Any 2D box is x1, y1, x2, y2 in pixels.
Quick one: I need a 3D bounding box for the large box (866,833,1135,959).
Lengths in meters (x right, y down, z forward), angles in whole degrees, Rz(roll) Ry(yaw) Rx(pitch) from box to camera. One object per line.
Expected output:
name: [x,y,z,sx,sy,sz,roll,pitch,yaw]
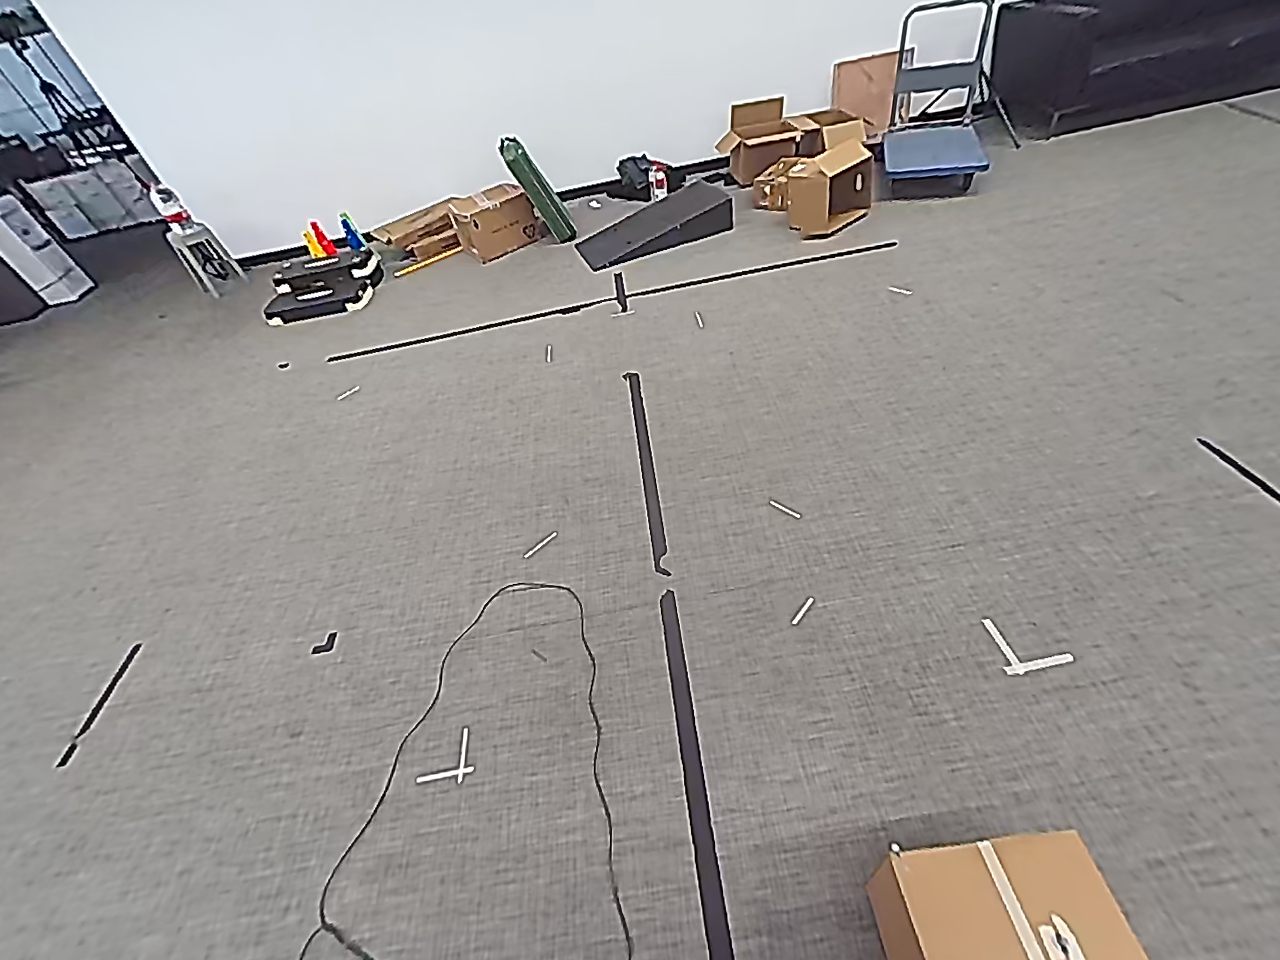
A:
large box: [0.614,0.870,0.888,0.320,0.320,0.408,-8,43,2]
